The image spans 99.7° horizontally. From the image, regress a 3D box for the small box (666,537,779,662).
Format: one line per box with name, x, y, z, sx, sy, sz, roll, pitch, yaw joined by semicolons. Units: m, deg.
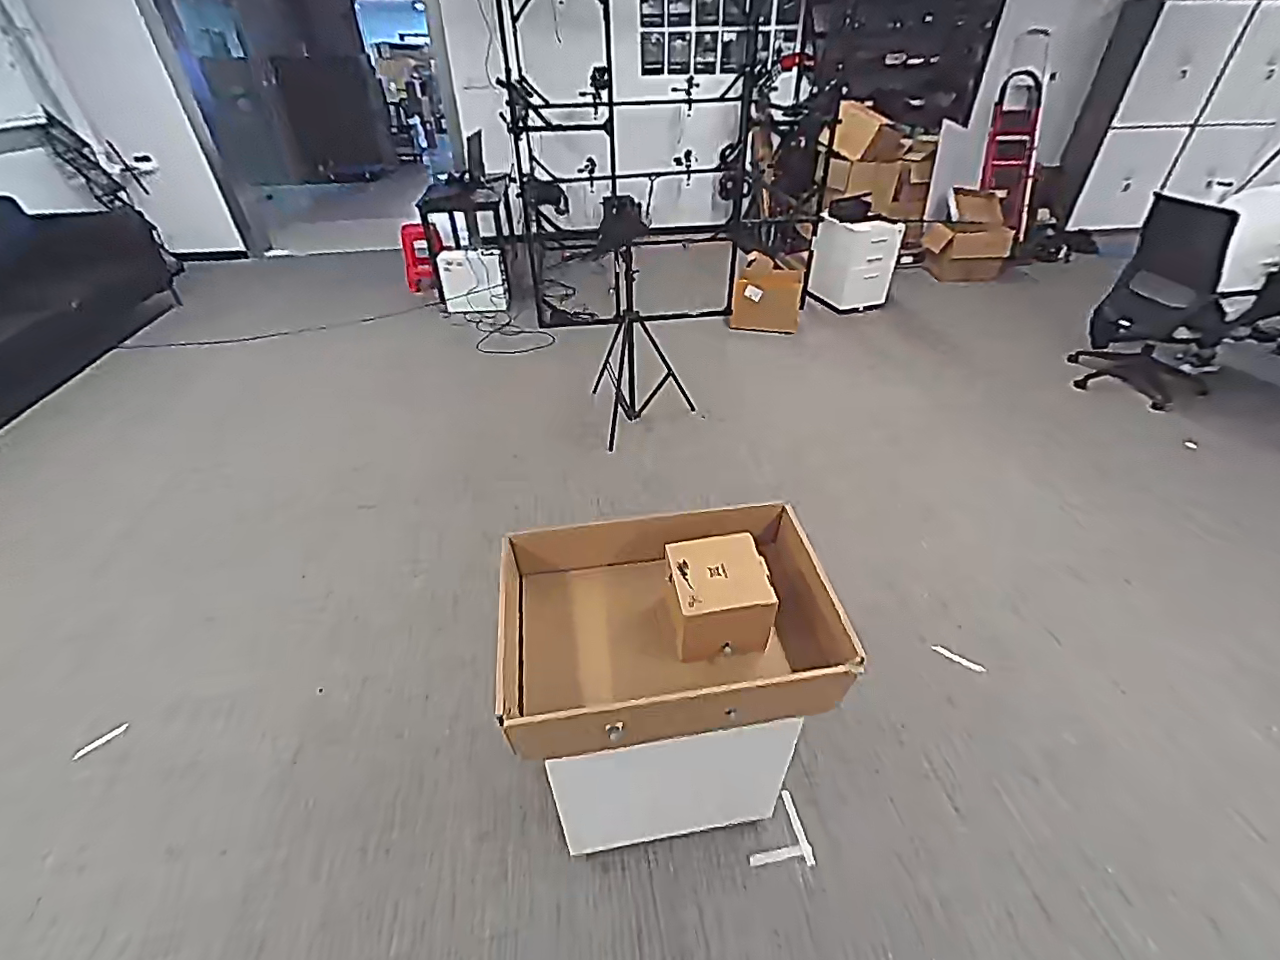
small box;0.151;0.235;1.061;0.179;0.176;0.168;-7;43;-6
